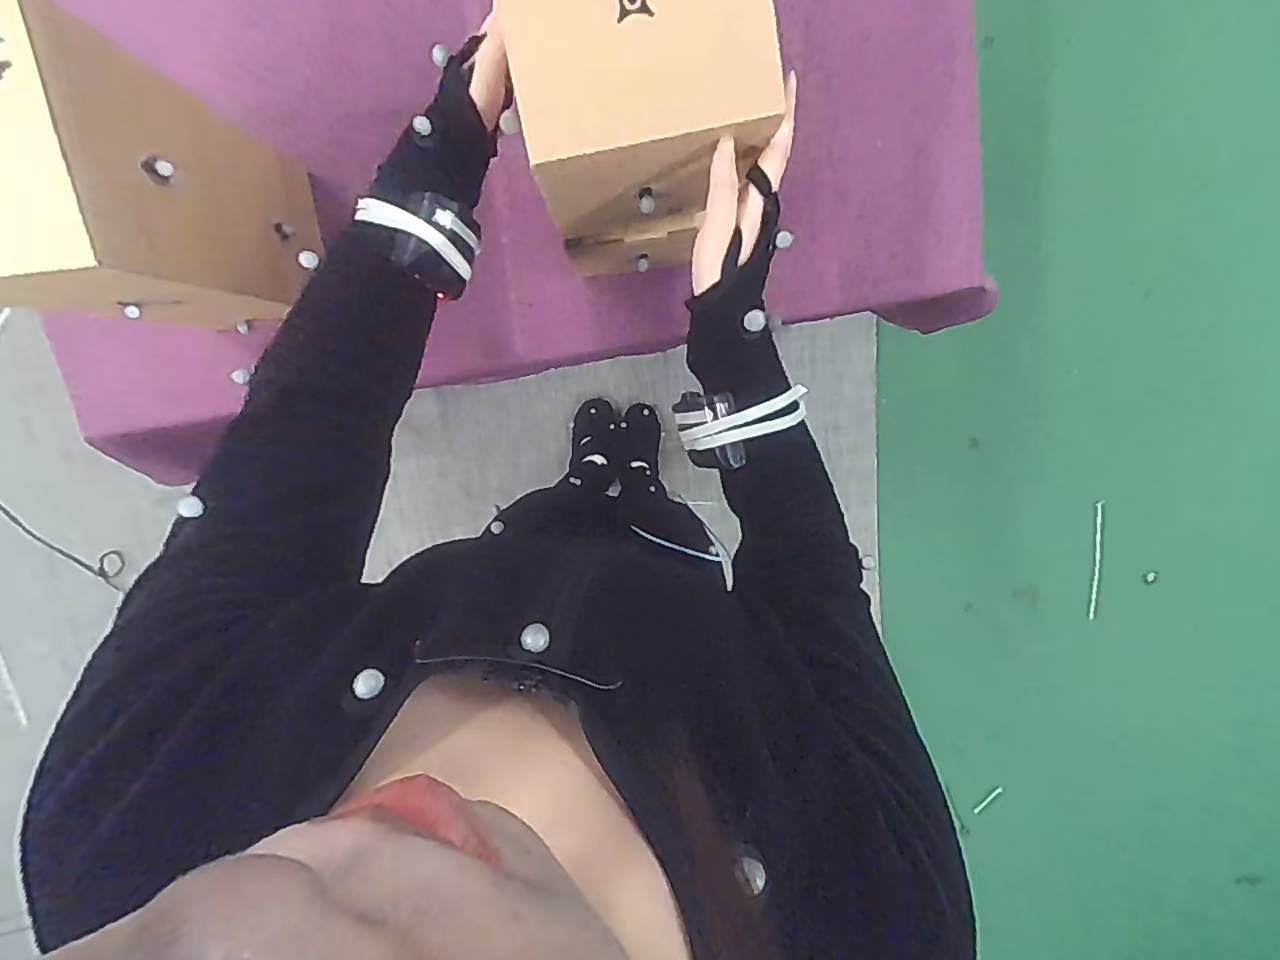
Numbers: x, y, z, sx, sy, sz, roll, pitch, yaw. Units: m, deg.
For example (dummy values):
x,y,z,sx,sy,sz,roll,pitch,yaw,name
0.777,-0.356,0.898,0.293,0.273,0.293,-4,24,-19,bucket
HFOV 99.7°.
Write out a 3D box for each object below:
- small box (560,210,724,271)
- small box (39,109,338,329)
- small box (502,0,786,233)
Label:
x,y,z,sx,sy,sz,roll,pitch,yaw,name
-0.008,-0.339,0.603,0.168,0.176,0.179,-8,103,-1,small box
-0.469,-0.269,0.596,0.168,0.176,0.179,-7,103,-1,small box
-0.002,-0.304,0.408,0.168,0.176,0.179,-11,99,0,small box
